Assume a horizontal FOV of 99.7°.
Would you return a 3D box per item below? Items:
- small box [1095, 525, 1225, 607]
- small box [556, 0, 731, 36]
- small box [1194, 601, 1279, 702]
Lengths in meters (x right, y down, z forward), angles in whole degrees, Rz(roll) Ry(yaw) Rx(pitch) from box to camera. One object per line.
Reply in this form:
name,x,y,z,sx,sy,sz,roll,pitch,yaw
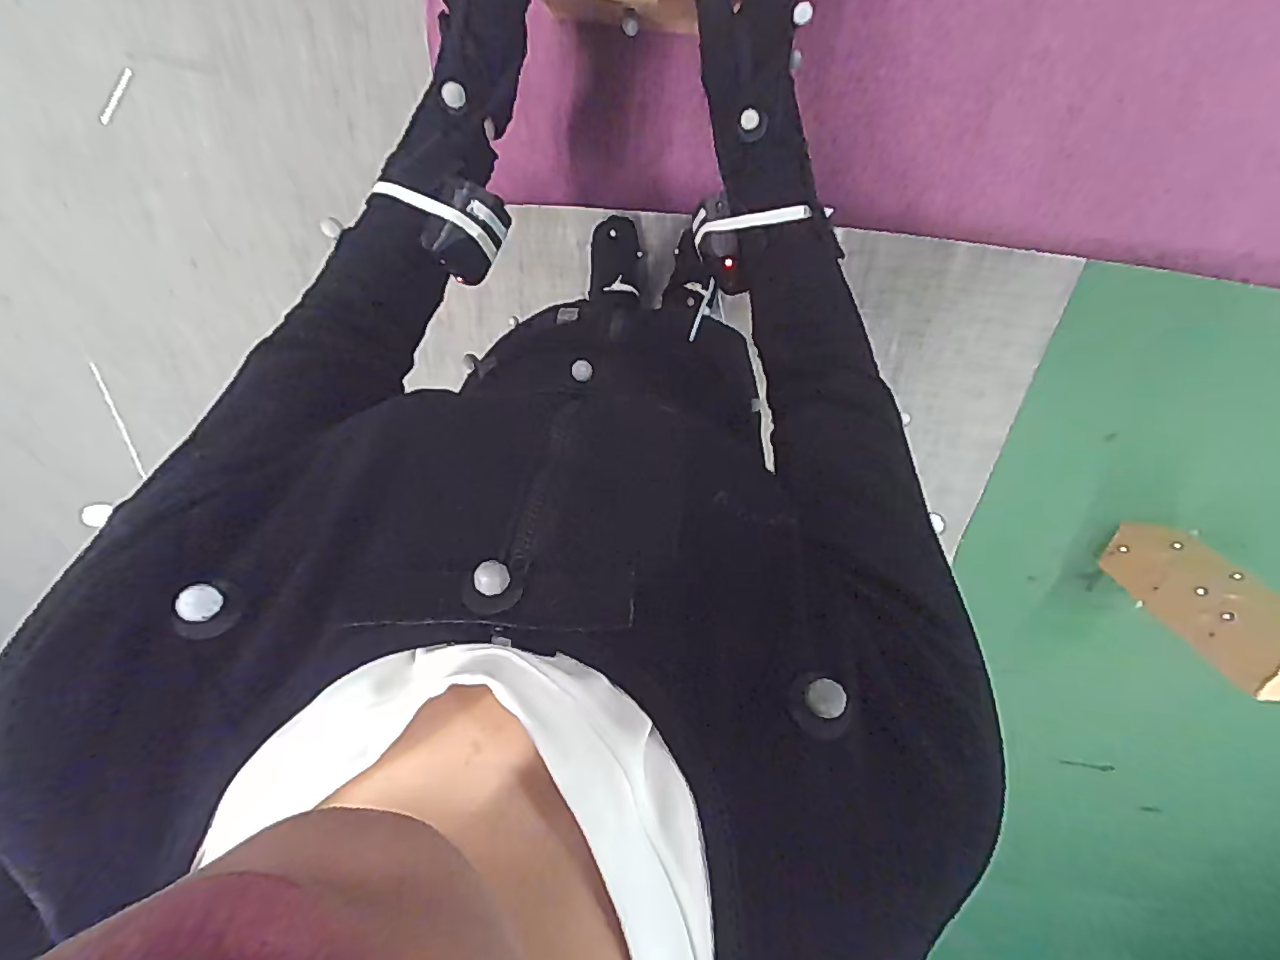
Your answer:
small box,1.503,0.246,1.576,0.179,0.176,0.168,6,119,-1
small box,0.002,-0.477,0.411,0.168,0.176,0.179,6,119,-1
small box,1.505,0.405,1.288,0.179,0.176,0.168,1,119,1
